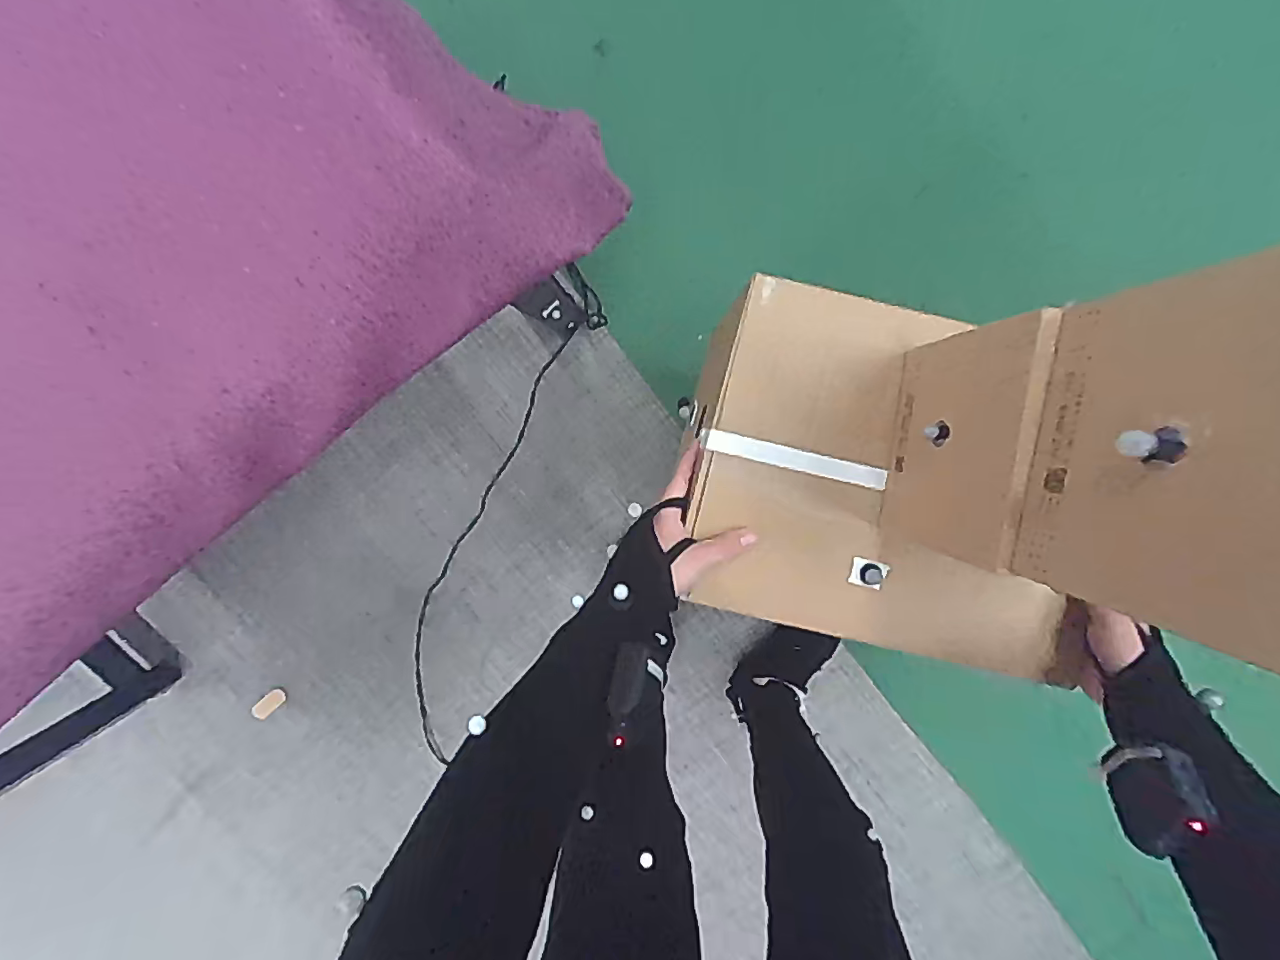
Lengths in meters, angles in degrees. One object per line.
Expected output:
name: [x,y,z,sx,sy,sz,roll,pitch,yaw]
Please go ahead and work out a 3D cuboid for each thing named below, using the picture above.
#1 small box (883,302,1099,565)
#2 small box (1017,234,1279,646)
small box: [0.313,-0.024,0.415,0.179,0.176,0.168,7,95,-1]
small box: [0.323,-0.009,0.252,0.179,0.176,0.168,8,95,0]
